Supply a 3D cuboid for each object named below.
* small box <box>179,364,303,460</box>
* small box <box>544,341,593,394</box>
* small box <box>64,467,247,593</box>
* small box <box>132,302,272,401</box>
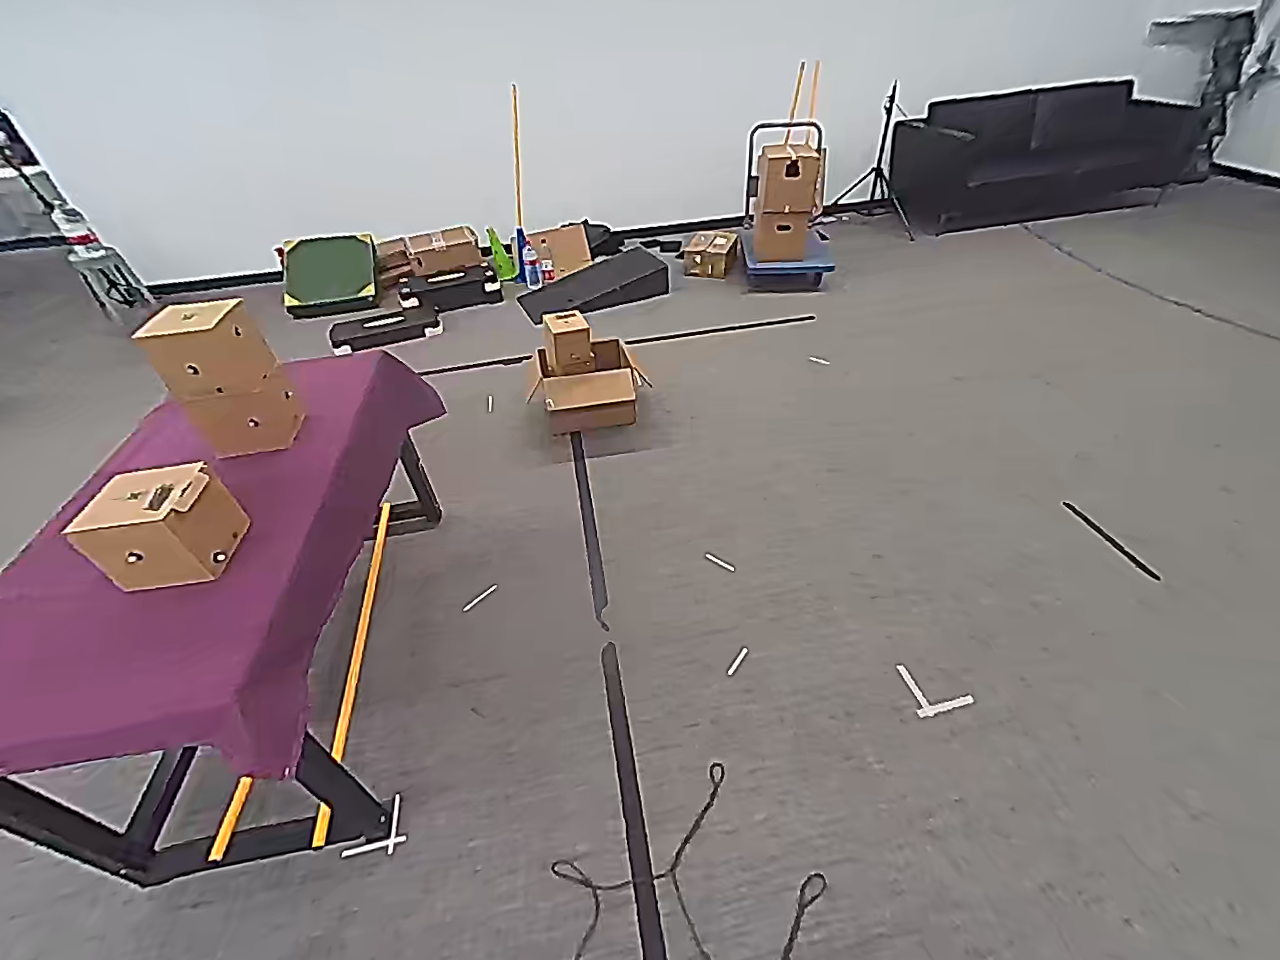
[{"bbox_3d":[-0.998,-0.172,1.374,0.179,0.176,0.168,-10,41,-6],"label":"small box"},{"bbox_3d":[-0.335,-0.526,2.551,0.179,0.176,0.168,-22,48,-24],"label":"small box"},{"bbox_3d":[-0.924,0.099,1.057,0.179,0.176,0.168,-8,41,-3],"label":"small box"},{"bbox_3d":[-1.008,-0.296,1.267,0.168,0.176,0.179,-9,40,-6],"label":"small box"}]
